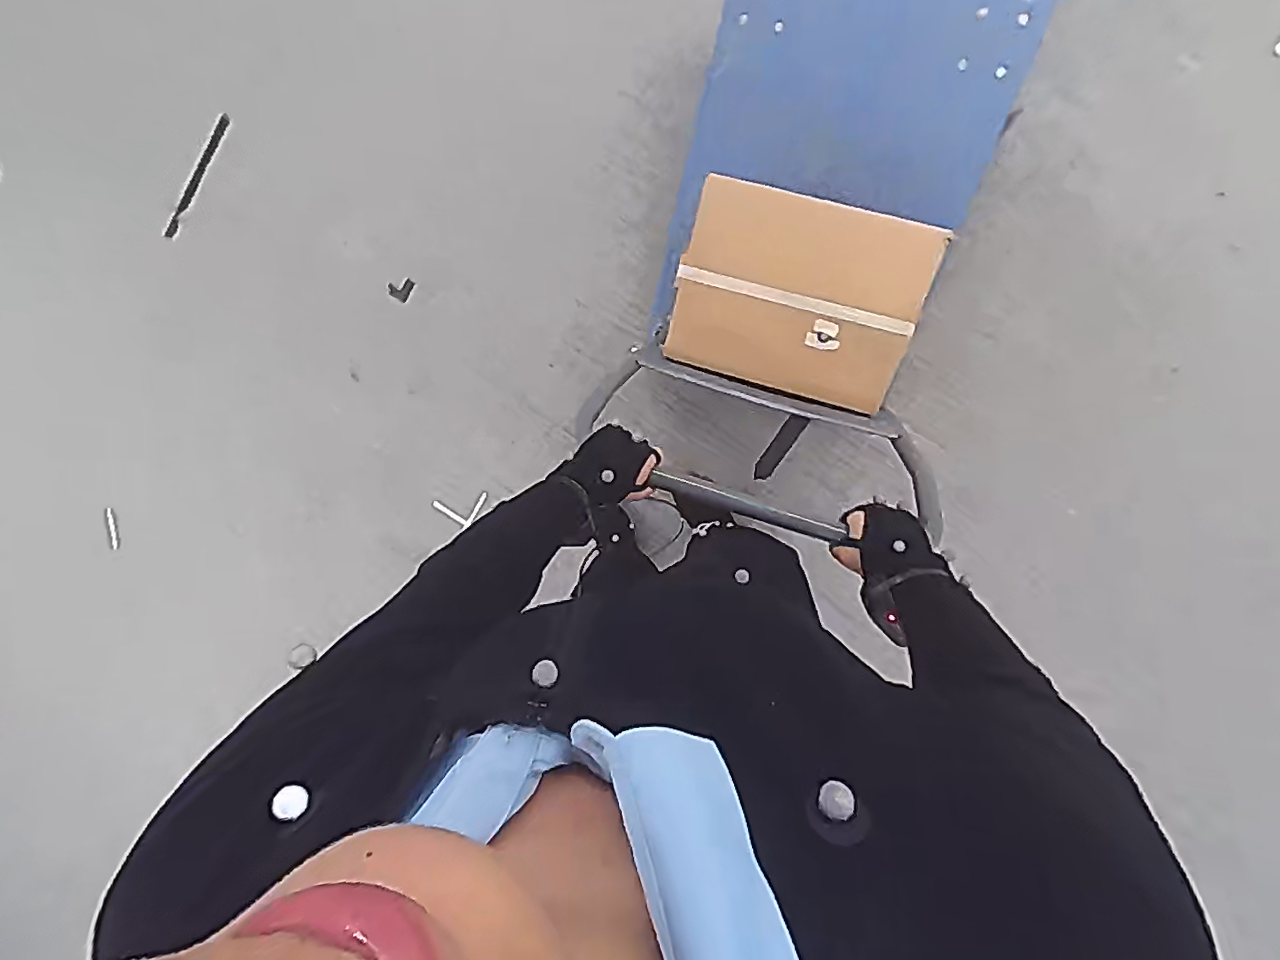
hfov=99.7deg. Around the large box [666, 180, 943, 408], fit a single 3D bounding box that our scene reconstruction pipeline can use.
[{"bbox_3d":[0.296,-0.367,1.087,0.408,0.320,0.320,17,113,5],"label":"large box"}]
